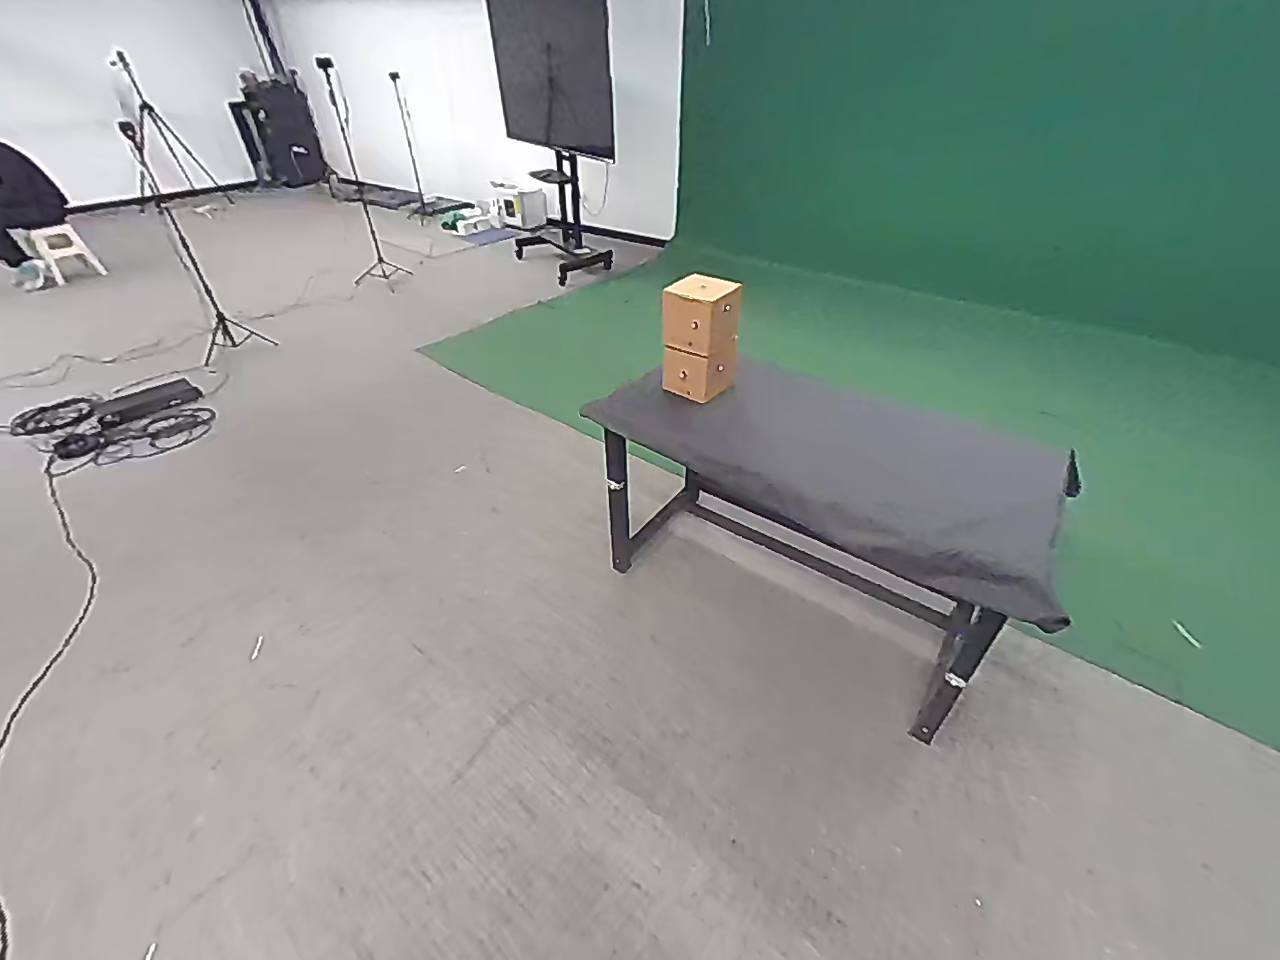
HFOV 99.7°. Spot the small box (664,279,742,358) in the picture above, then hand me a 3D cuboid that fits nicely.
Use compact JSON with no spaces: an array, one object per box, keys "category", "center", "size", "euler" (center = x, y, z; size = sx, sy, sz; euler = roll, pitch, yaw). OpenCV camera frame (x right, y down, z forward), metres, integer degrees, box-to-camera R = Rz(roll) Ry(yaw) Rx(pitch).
[{"category":"small box","center":[0.187,-0.483,1.624],"size":[0.168,0.176,0.179],"euler":[25,44,27]}]

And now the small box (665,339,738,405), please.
[{"category":"small box","center":[0.196,-0.363,1.734],"size":[0.168,0.176,0.179],"euler":[27,46,29]}]
